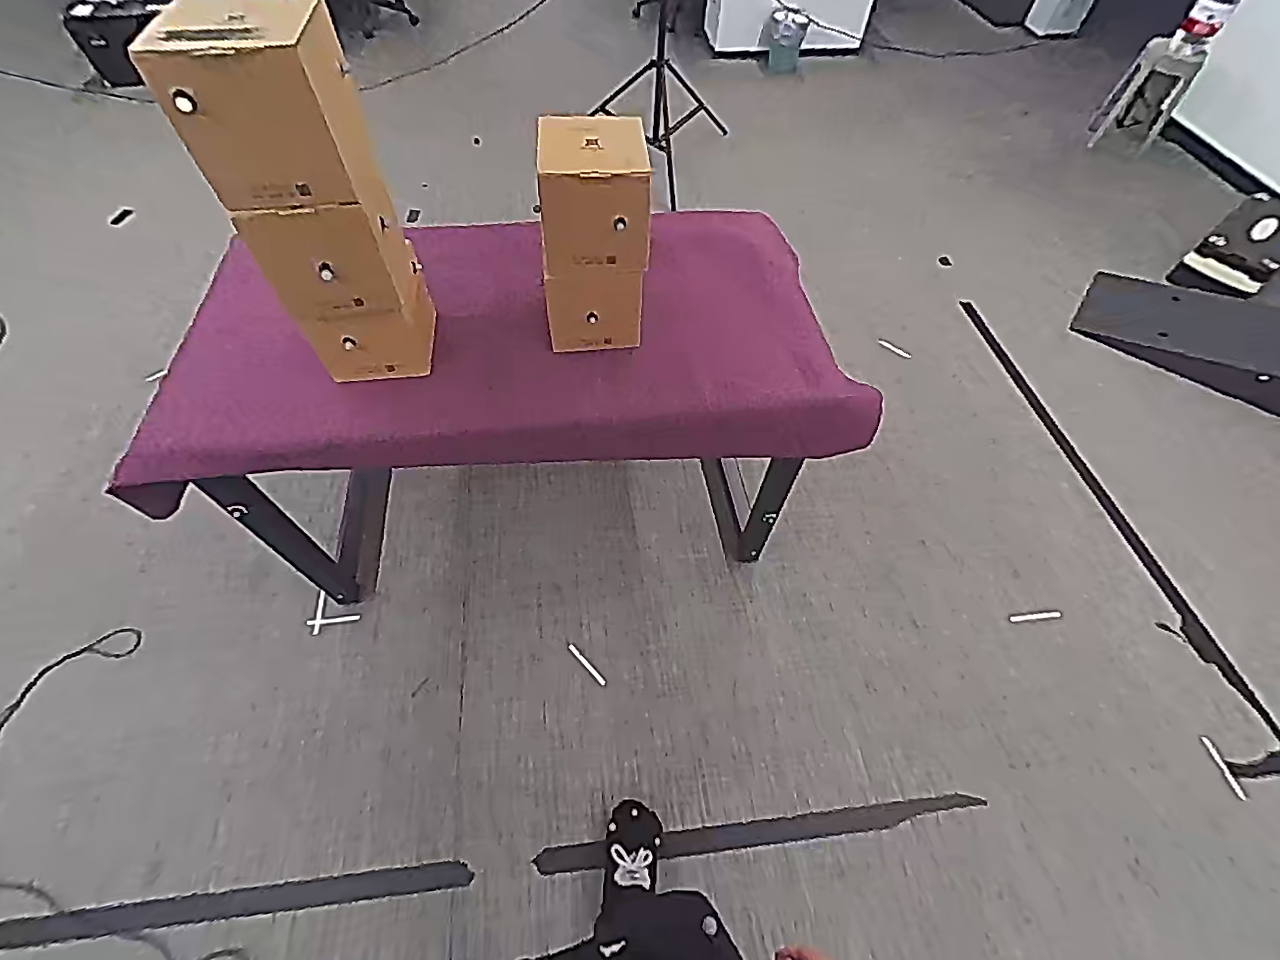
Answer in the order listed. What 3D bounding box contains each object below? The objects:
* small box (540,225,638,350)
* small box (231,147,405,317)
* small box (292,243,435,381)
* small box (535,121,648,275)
[{"bbox_3d":[-0.093,-0.358,1.012,0.168,0.176,0.179,-5,57,-6],"label":"small box"},{"bbox_3d":[-0.462,-0.362,0.808,0.168,0.176,0.179,-10,58,-8],"label":"small box"},{"bbox_3d":[-0.473,-0.289,0.956,0.168,0.176,0.179,-6,56,-6],"label":"small box"},{"bbox_3d":[-0.077,-0.452,0.880,0.168,0.176,0.179,-4,56,-5],"label":"small box"}]
